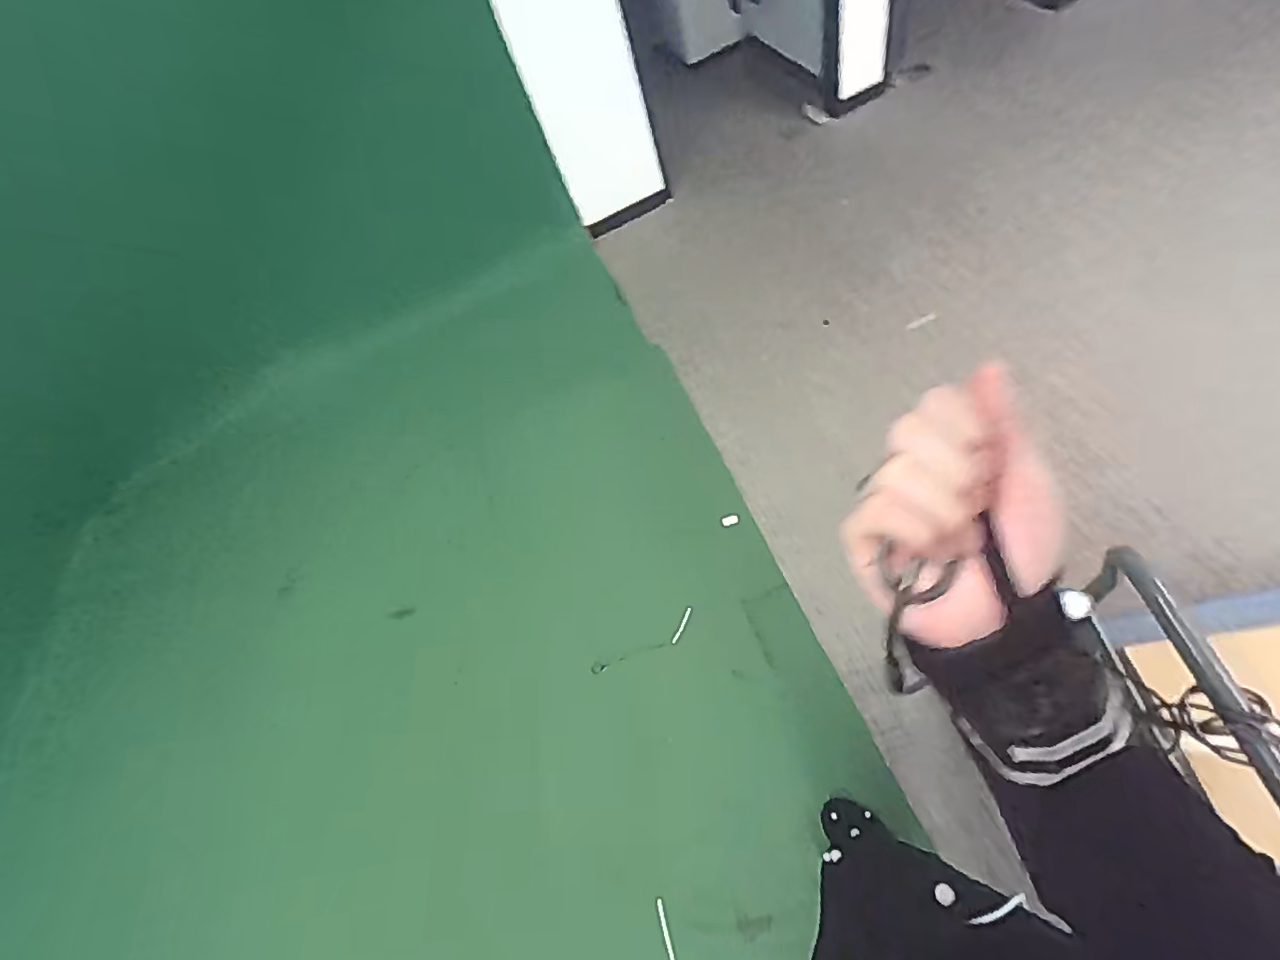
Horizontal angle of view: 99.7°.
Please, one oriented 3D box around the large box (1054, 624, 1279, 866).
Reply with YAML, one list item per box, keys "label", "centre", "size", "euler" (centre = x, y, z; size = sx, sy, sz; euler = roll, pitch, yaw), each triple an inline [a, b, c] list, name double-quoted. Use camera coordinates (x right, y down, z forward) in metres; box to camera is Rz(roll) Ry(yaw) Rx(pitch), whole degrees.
- label: "large box"
  centre: [1.057, 0.457, 0.937]
  size: [0.408, 0.320, 0.320]
  euler: [-12, 56, 11]
